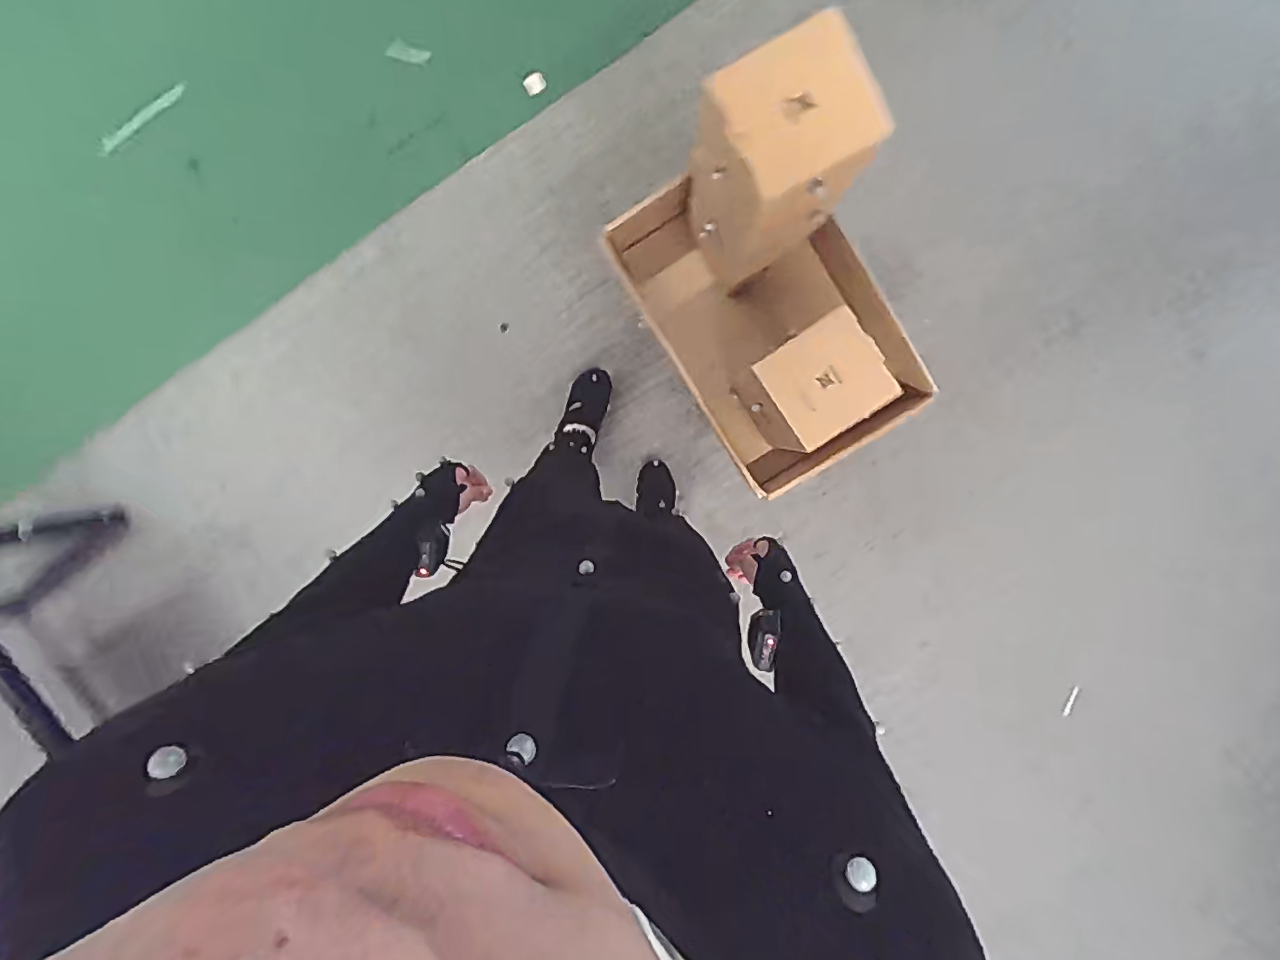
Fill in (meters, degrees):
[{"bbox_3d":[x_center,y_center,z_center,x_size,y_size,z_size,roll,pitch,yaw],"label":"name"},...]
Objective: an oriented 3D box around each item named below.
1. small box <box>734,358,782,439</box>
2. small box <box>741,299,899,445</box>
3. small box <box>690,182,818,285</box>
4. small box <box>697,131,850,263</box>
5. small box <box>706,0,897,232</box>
[{"bbox_3d":[0.301,-0.194,1.083,0.179,0.176,0.168,-32,94,4],"label":"small box"},{"bbox_3d":[0.293,-0.177,0.921,0.179,0.176,0.168,-32,94,5],"label":"small box"},{"bbox_3d":[0.212,-0.510,1.054,0.179,0.176,0.168,-29,95,5],"label":"small box"},{"bbox_3d":[0.208,-0.491,0.891,0.179,0.176,0.168,-27,93,5],"label":"small box"},{"bbox_3d":[0.203,-0.472,0.731,0.179,0.176,0.168,-26,95,6],"label":"small box"}]
